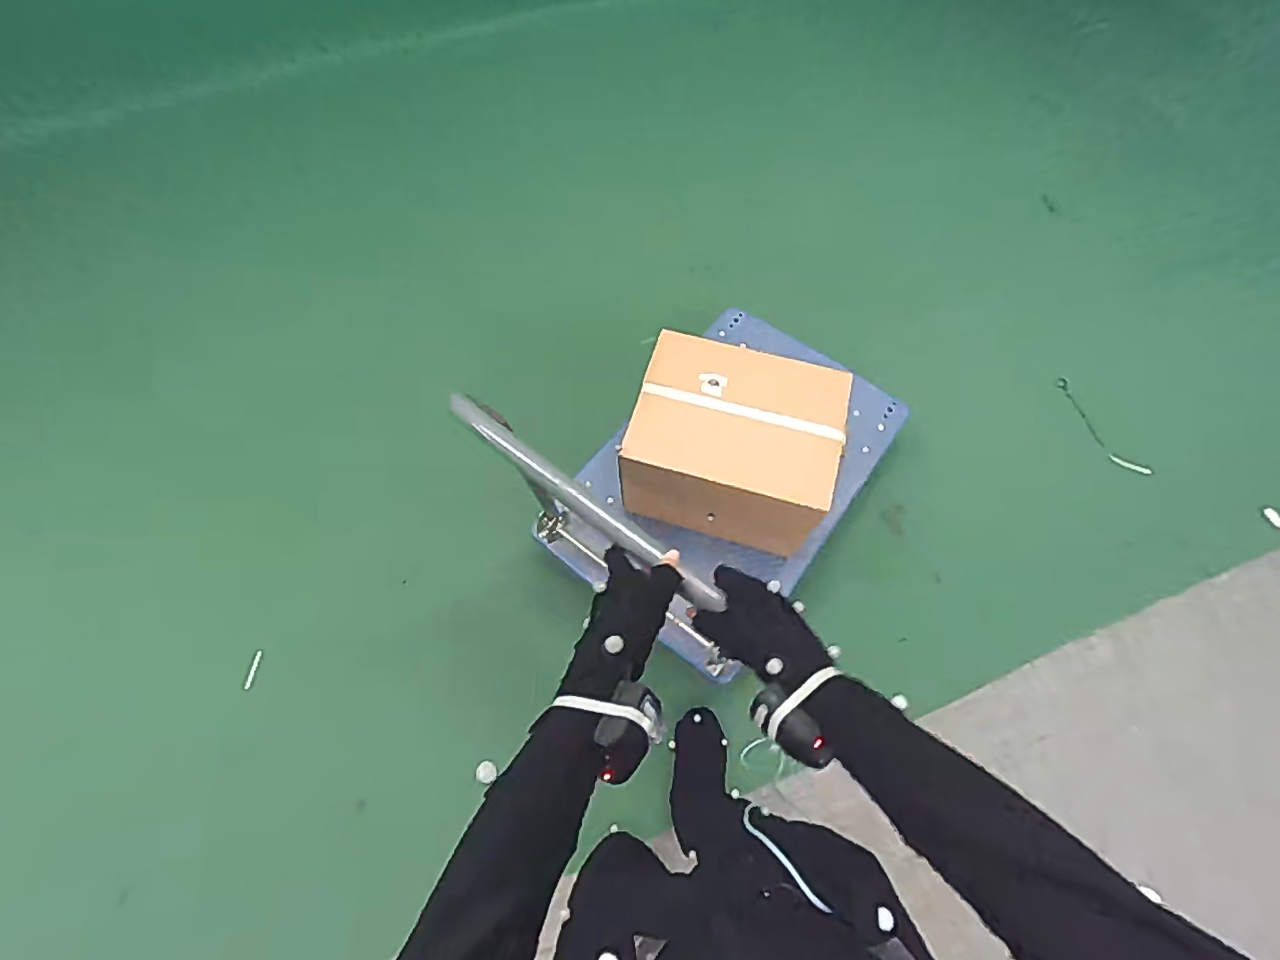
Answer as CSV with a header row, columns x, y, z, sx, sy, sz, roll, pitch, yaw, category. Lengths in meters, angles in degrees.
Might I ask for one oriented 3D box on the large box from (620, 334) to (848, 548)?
x,y,z,sx,sy,sz,roll,pitch,yaw,category
0.199,-0.072,1.198,0.408,0.320,0.320,14,67,8,large box
